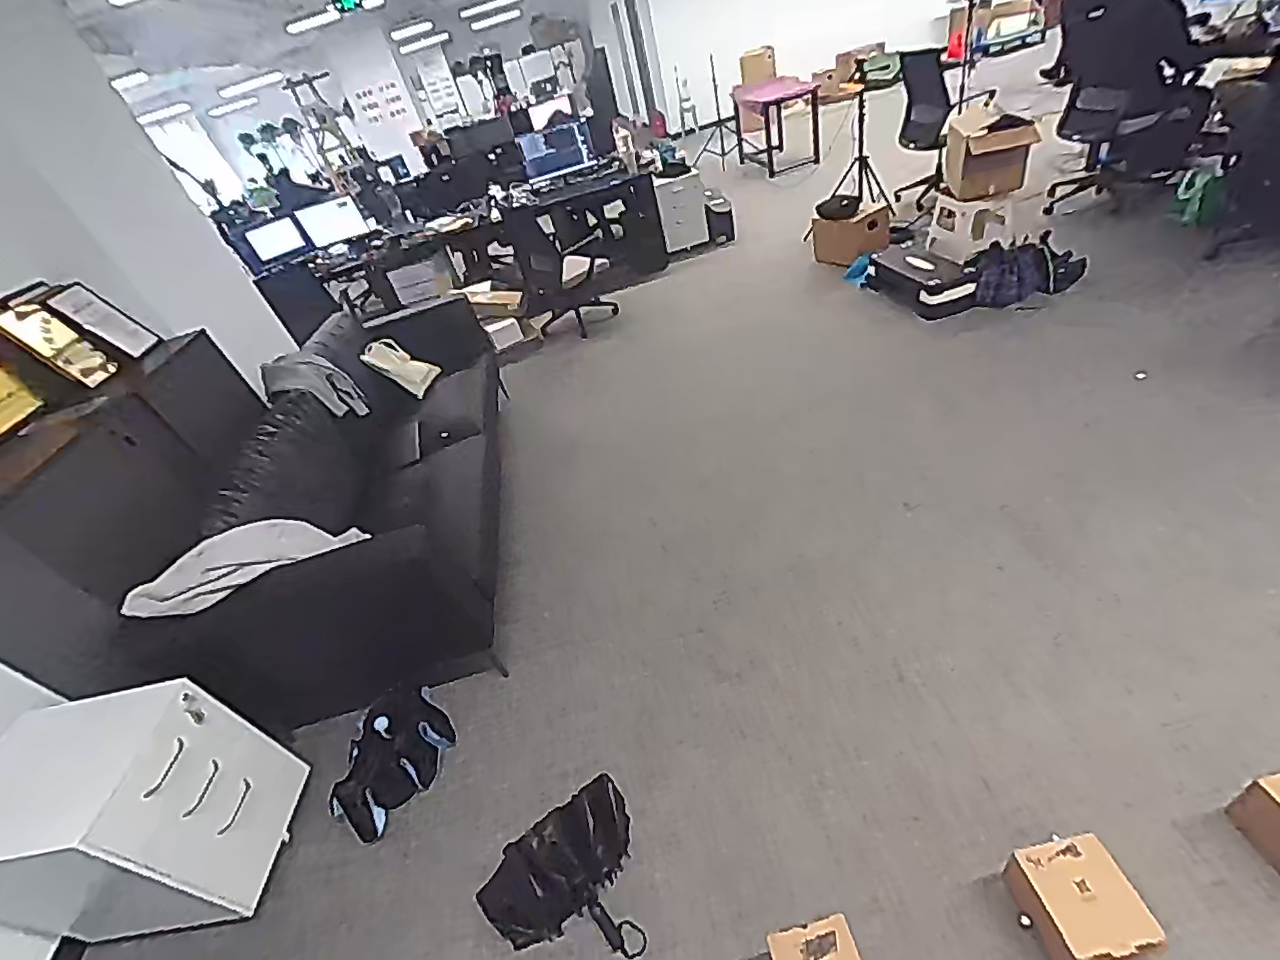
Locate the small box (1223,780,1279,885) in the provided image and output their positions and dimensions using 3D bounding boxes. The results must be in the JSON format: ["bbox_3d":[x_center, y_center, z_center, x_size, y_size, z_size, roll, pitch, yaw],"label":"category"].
[{"bbox_3d":[1.337,0.710,1.065,0.168,0.176,0.179,-16,36,3],"label":"small box"}]

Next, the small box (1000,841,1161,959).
[{"bbox_3d":[0.860,0.860,1.077,0.168,0.176,0.179,-16,38,4],"label":"small box"}]

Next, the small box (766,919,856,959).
[{"bbox_3d":[0.363,1.023,1.079,0.168,0.176,0.179,-18,38,1],"label":"small box"}]
